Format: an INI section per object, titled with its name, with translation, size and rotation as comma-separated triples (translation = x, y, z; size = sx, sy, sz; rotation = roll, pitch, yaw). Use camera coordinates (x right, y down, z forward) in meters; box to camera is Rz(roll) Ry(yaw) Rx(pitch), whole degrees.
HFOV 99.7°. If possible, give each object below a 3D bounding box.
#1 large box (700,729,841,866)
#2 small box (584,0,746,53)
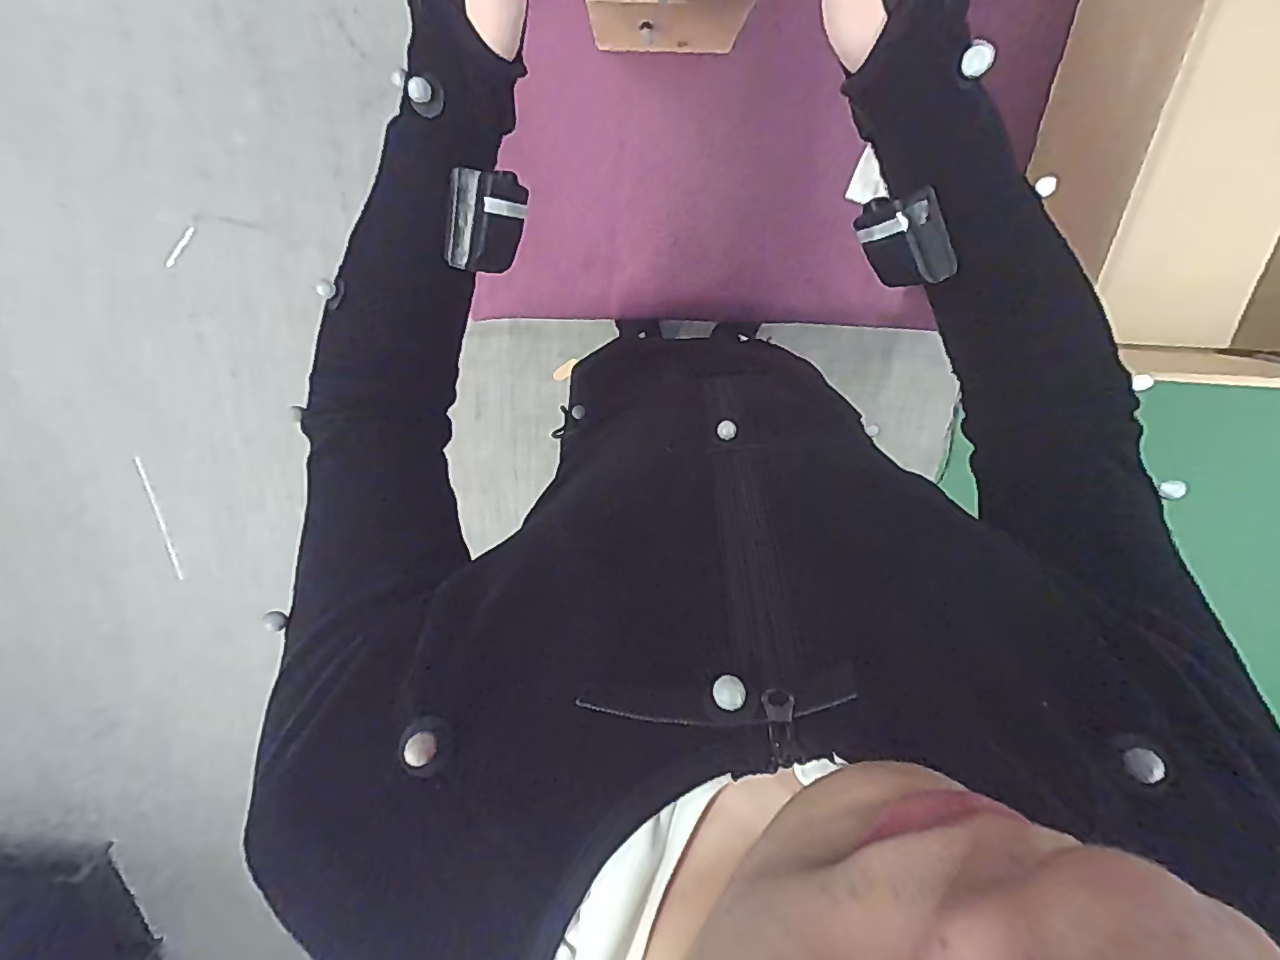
[large box]
translation = 0.490, 1.255, 2.101
size = 0.408, 0.320, 0.320
rotation = -28, 112, 11
[small box]
translation = 0.029, -0.578, 0.567
size = 0.168, 0.176, 0.179
rotation = 1, 113, 0
